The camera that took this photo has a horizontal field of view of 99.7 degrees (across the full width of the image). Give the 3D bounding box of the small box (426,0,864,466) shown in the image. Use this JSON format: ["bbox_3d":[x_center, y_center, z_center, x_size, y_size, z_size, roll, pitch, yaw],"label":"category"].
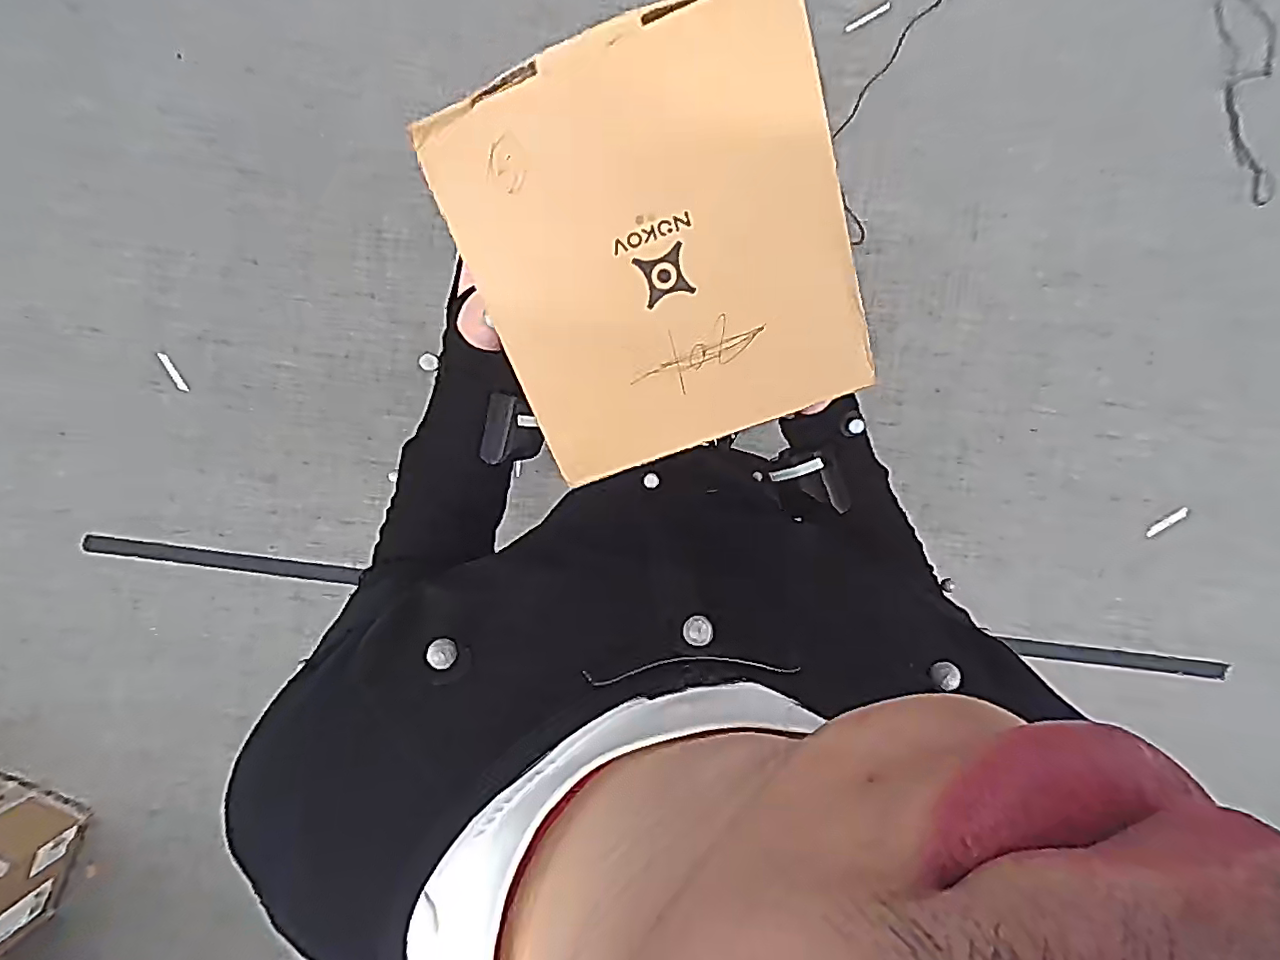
[{"bbox_3d":[0.009,-0.138,0.327,0.168,0.176,0.179,-19,114,9],"label":"small box"}]
